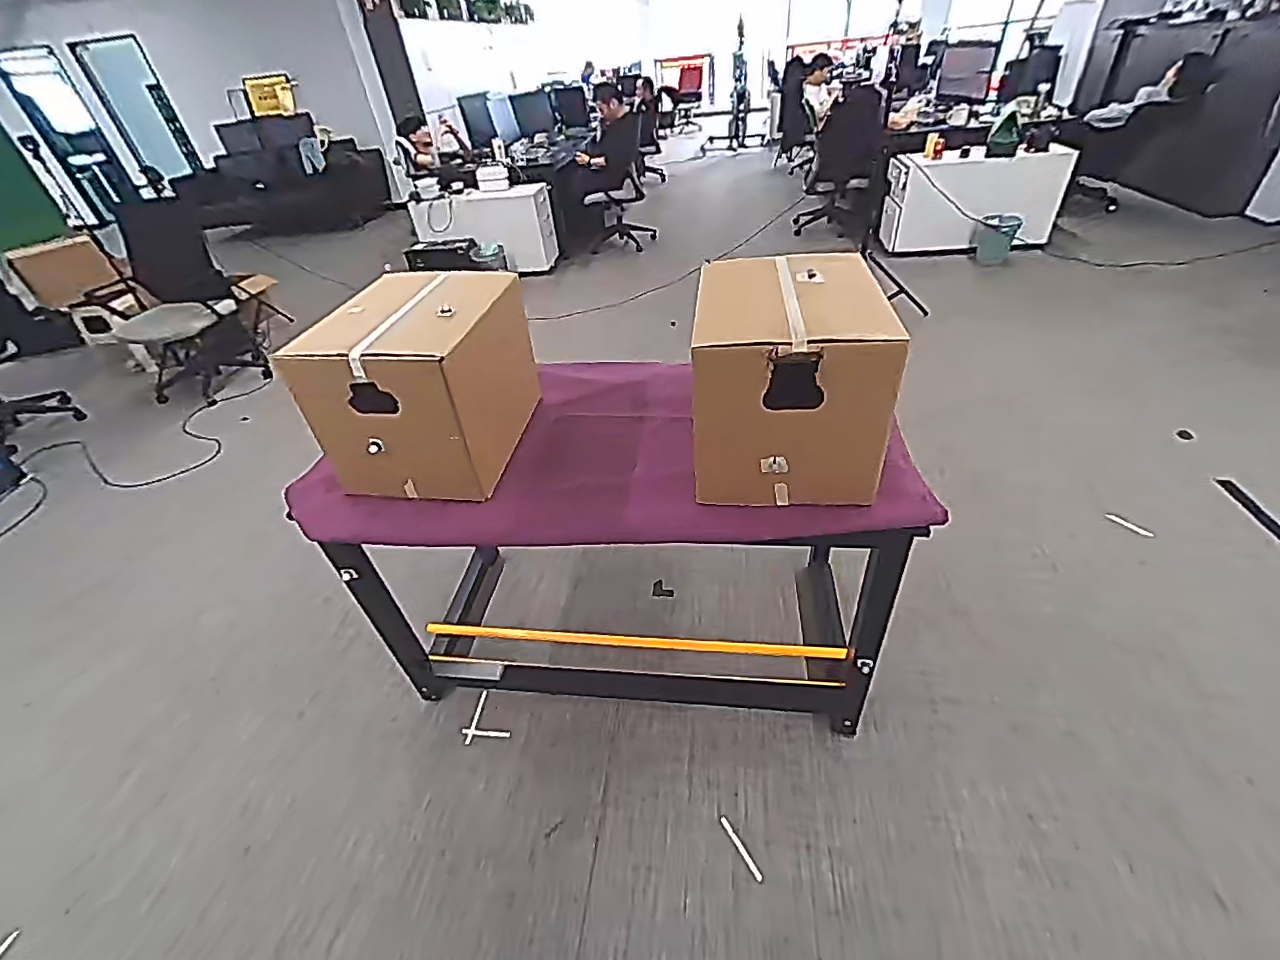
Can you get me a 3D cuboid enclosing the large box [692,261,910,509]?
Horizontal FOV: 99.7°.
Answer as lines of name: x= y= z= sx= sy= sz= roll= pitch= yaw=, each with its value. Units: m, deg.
large box: x=0.265 y=-0.188 z=1.018 sx=0.320 sy=0.320 sz=0.408 roll=1 pitch=38 yaw=8
